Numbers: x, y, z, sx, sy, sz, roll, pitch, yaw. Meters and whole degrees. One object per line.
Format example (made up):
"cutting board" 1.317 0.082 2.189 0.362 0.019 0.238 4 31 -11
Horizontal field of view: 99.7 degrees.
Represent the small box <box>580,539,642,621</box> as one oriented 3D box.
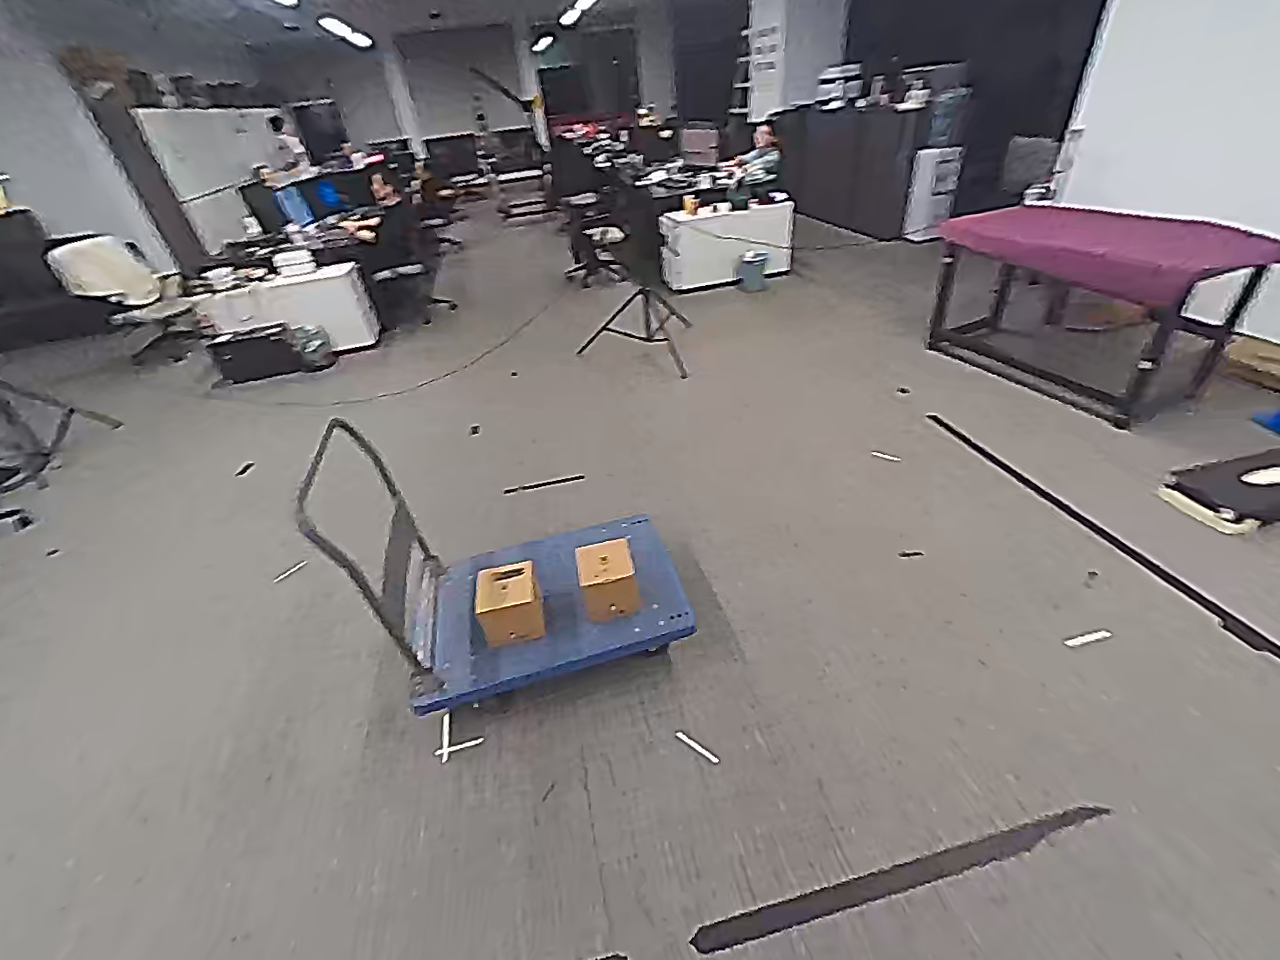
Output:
"small box" -0.093 0.317 1.719 0.168 0.176 0.179 -12 36 -5
